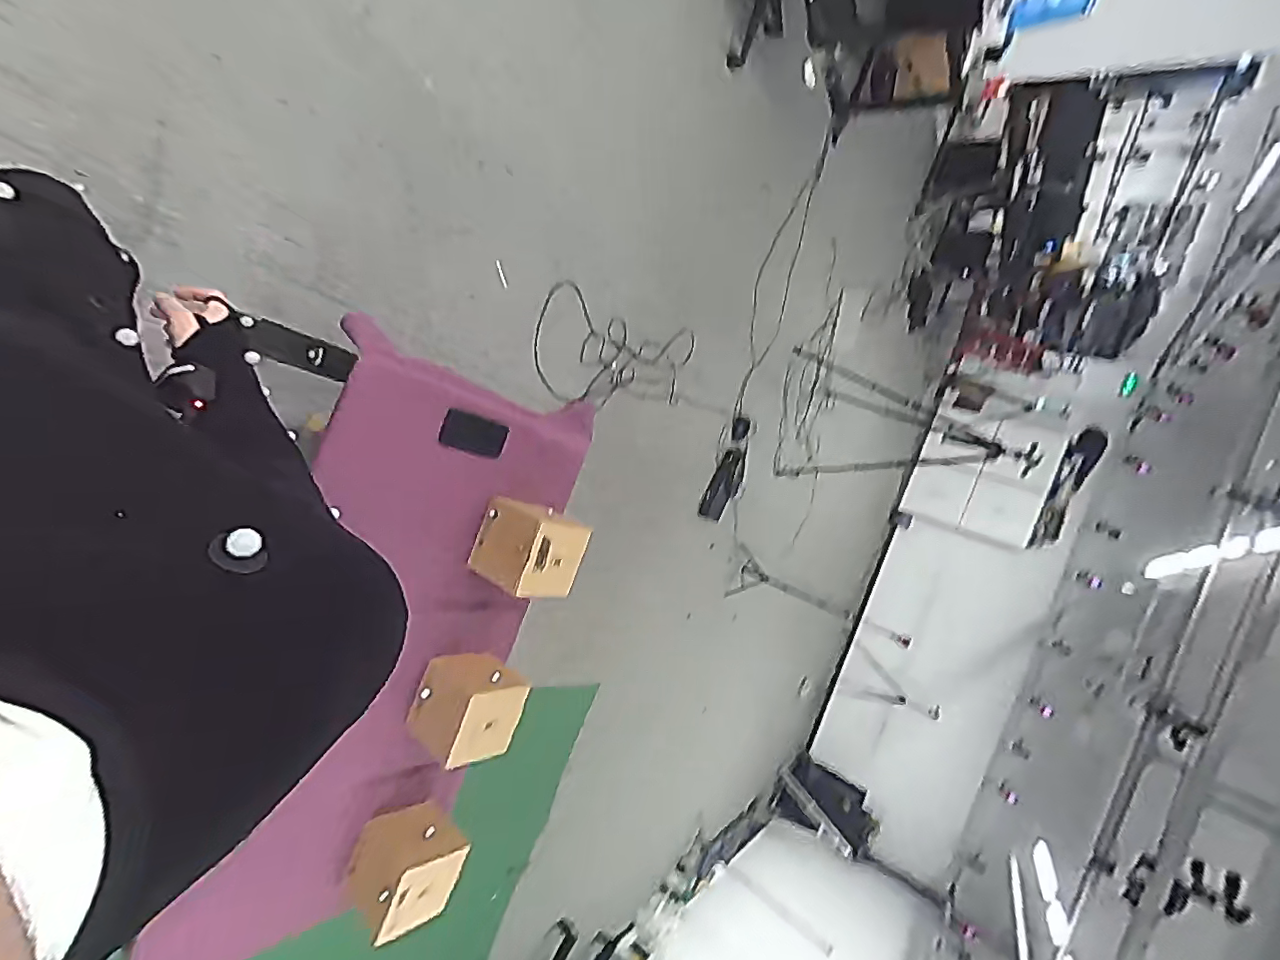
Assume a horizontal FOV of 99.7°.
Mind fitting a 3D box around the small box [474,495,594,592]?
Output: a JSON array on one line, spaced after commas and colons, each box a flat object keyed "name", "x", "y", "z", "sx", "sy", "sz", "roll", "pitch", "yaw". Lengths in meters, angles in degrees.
[{"name": "small box", "x": -0.241, "y": 0.142, "z": 1.221, "sx": 0.179, "sy": 0.176, "sz": 0.168, "roll": 19, "pitch": 93, "yaw": -56}]

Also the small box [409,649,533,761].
[{"name": "small box", "x": -0.385, "y": 0.499, "z": 1.230, "sx": 0.179, "sy": 0.176, "sz": 0.168, "roll": 22, "pitch": 90, "yaw": -55}]

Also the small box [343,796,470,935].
[{"name": "small box", "x": -0.531, "y": 0.861, "z": 1.232, "sx": 0.179, "sy": 0.176, "sz": 0.168, "roll": 23, "pitch": 89, "yaw": -56}]
